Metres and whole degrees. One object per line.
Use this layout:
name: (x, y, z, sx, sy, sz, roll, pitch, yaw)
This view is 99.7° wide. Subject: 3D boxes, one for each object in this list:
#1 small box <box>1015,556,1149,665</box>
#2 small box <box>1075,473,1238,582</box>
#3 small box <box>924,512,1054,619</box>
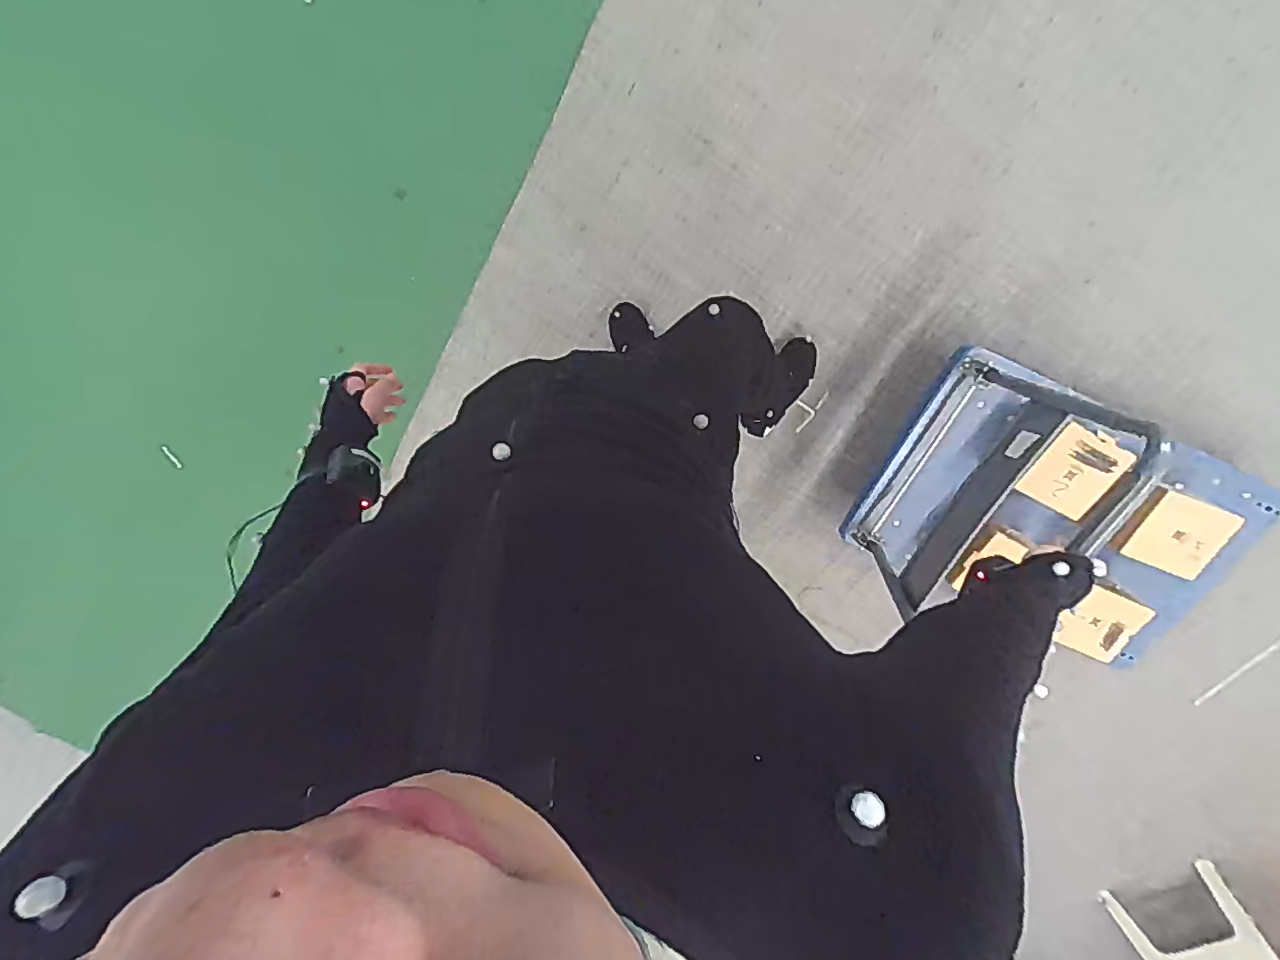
small box: (1.070, 0.314, 1.340, 0.179, 0.176, 0.168, 24, 110, 0)
small box: (1.172, 0.100, 1.248, 0.179, 0.176, 0.168, 22, 112, 0)
small box: (0.848, 0.202, 1.333, 0.179, 0.176, 0.168, 27, 111, -2)
